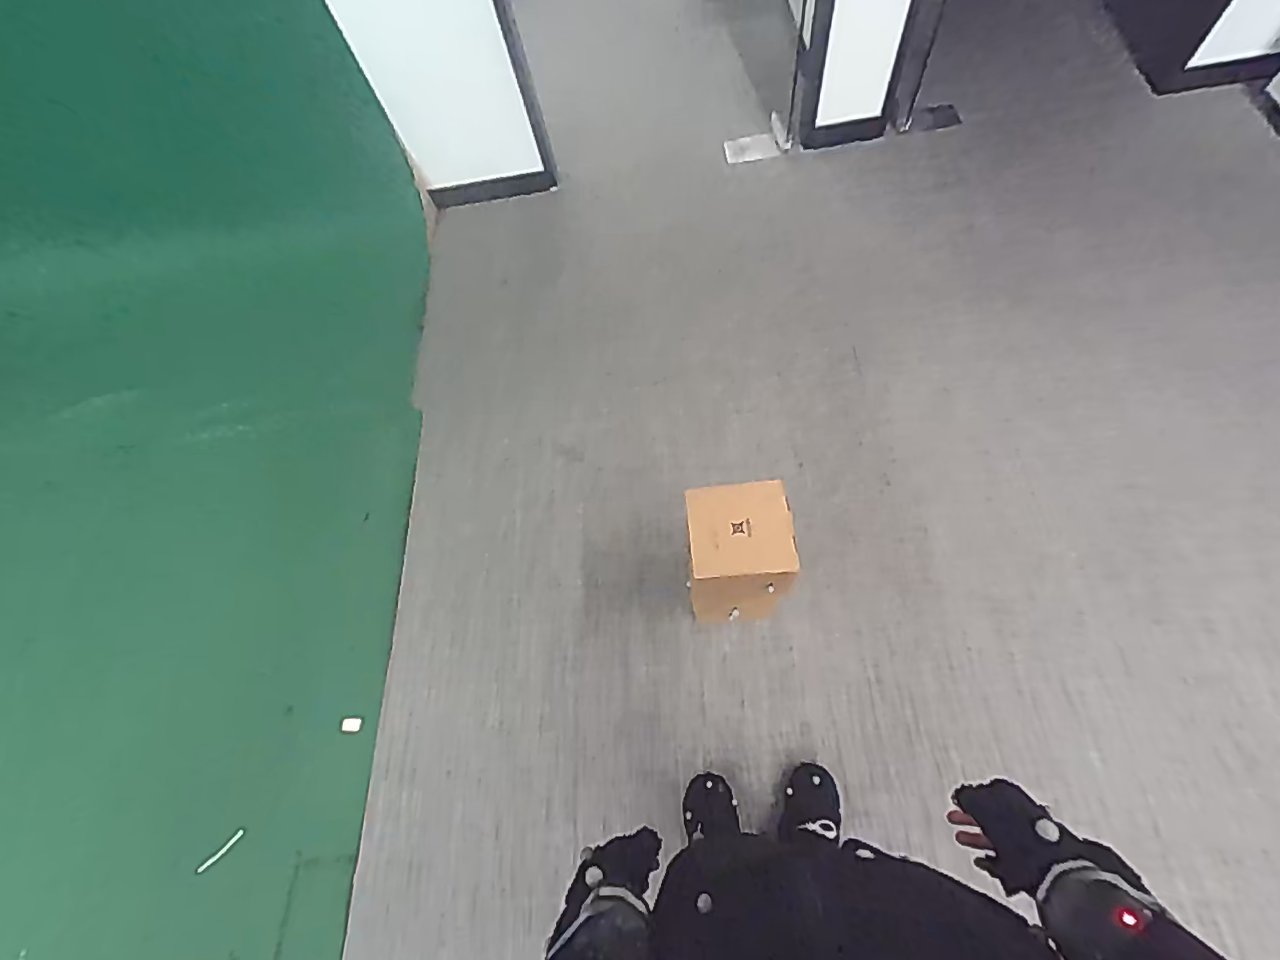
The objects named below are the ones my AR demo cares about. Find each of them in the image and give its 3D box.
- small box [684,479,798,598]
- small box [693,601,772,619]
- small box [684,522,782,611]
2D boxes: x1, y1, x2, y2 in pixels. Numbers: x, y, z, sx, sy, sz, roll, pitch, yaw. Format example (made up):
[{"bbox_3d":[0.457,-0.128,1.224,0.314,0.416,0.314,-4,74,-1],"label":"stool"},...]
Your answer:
[{"bbox_3d":[0.178,0.113,0.990,0.179,0.176,0.168,-7,64,6],"label":"small box"},{"bbox_3d":[0.212,0.232,1.292,0.179,0.176,0.168,-6,65,7],"label":"small box"},{"bbox_3d":[0.191,0.178,1.143,0.179,0.176,0.168,-7,67,6],"label":"small box"}]
